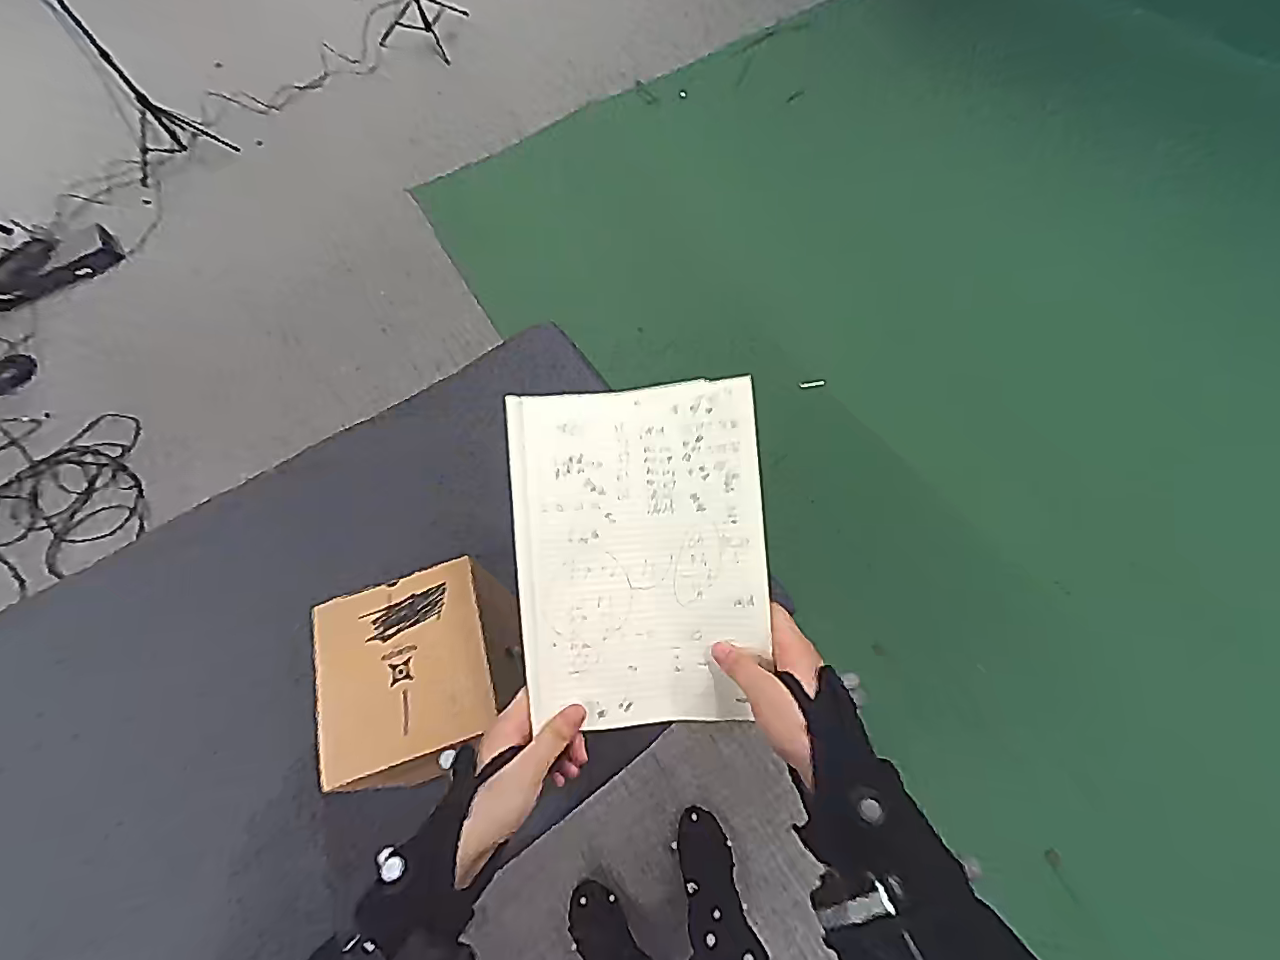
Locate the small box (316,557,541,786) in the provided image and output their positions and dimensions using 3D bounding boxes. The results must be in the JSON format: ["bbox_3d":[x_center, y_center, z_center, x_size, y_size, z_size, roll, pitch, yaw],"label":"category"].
[{"bbox_3d":[-0.222,0.212,0.593,0.168,0.176,0.179,-19,63,-3],"label":"small box"}]
